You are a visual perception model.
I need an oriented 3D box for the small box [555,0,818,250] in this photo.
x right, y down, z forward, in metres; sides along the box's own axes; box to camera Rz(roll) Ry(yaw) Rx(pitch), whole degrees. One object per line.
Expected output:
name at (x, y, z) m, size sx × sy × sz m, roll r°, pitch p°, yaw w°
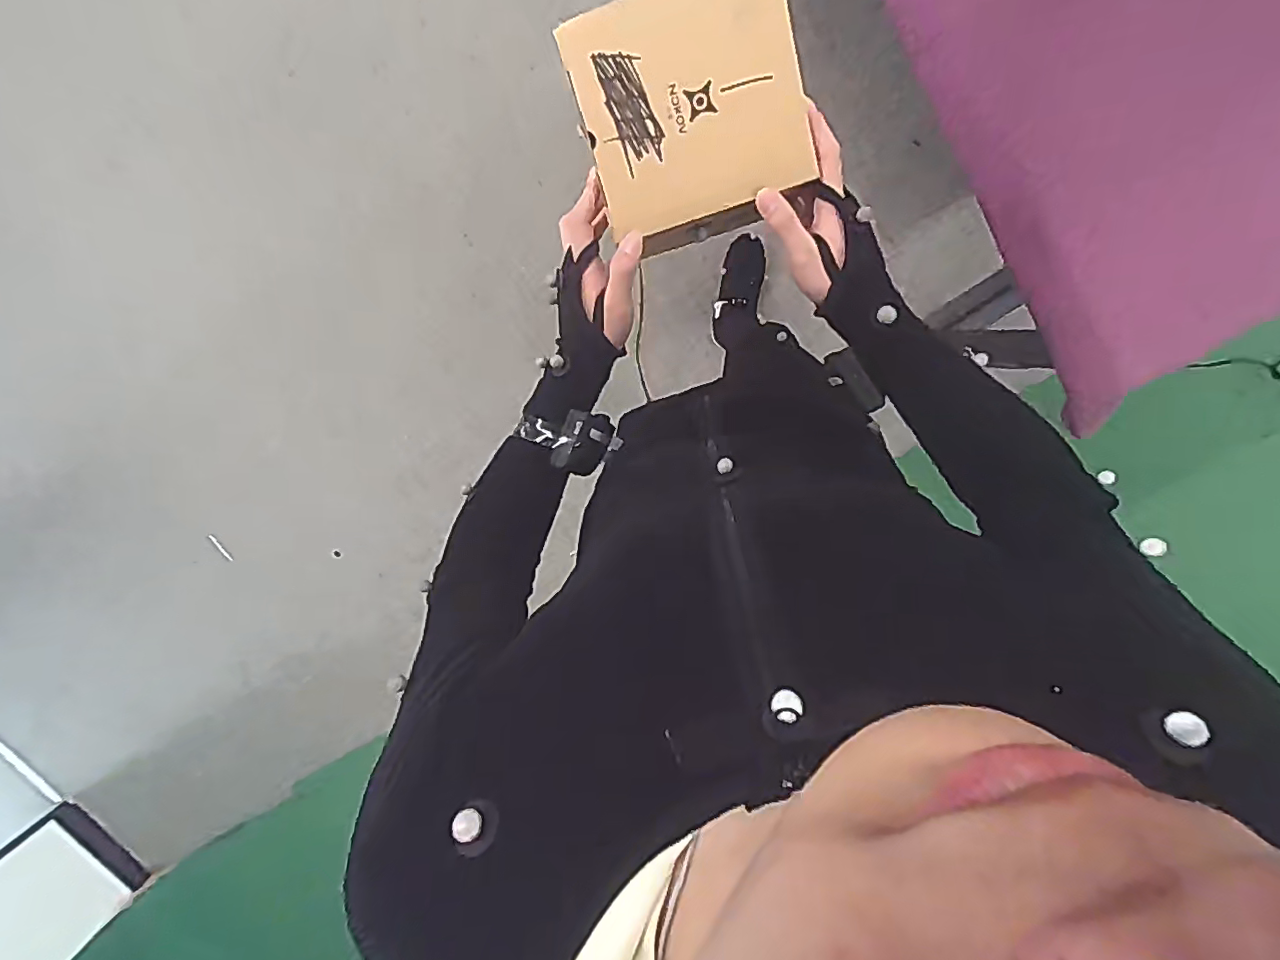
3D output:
small box at (0.043, -0.326, 0.498) m, size 0.179 × 0.176 × 0.168 m, roll -15°, pitch 105°, yaw 8°
